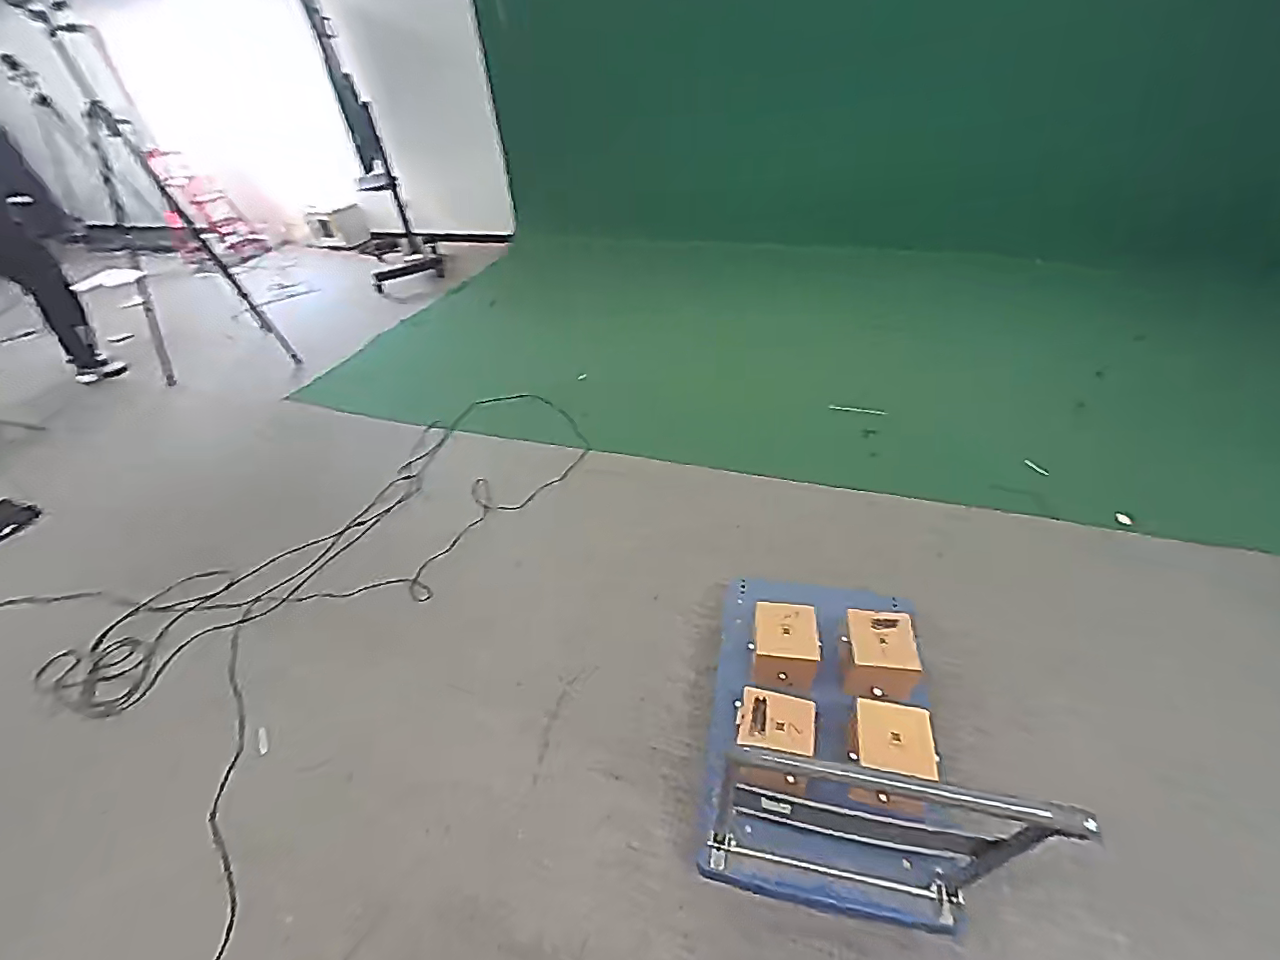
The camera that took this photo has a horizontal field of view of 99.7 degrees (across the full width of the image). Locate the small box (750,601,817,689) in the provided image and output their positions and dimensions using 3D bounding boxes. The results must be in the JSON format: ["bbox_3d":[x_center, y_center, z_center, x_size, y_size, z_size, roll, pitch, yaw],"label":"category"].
[{"bbox_3d":[0.407,0.474,1.549,0.168,0.176,0.179,4,42,9],"label":"small box"}]

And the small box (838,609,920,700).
[{"bbox_3d":[0.657,0.486,1.509,0.168,0.176,0.179,2,43,10],"label":"small box"}]

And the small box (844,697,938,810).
[{"bbox_3d":[0.599,0.664,1.314,0.168,0.176,0.179,6,43,13],"label":"small box"}]
